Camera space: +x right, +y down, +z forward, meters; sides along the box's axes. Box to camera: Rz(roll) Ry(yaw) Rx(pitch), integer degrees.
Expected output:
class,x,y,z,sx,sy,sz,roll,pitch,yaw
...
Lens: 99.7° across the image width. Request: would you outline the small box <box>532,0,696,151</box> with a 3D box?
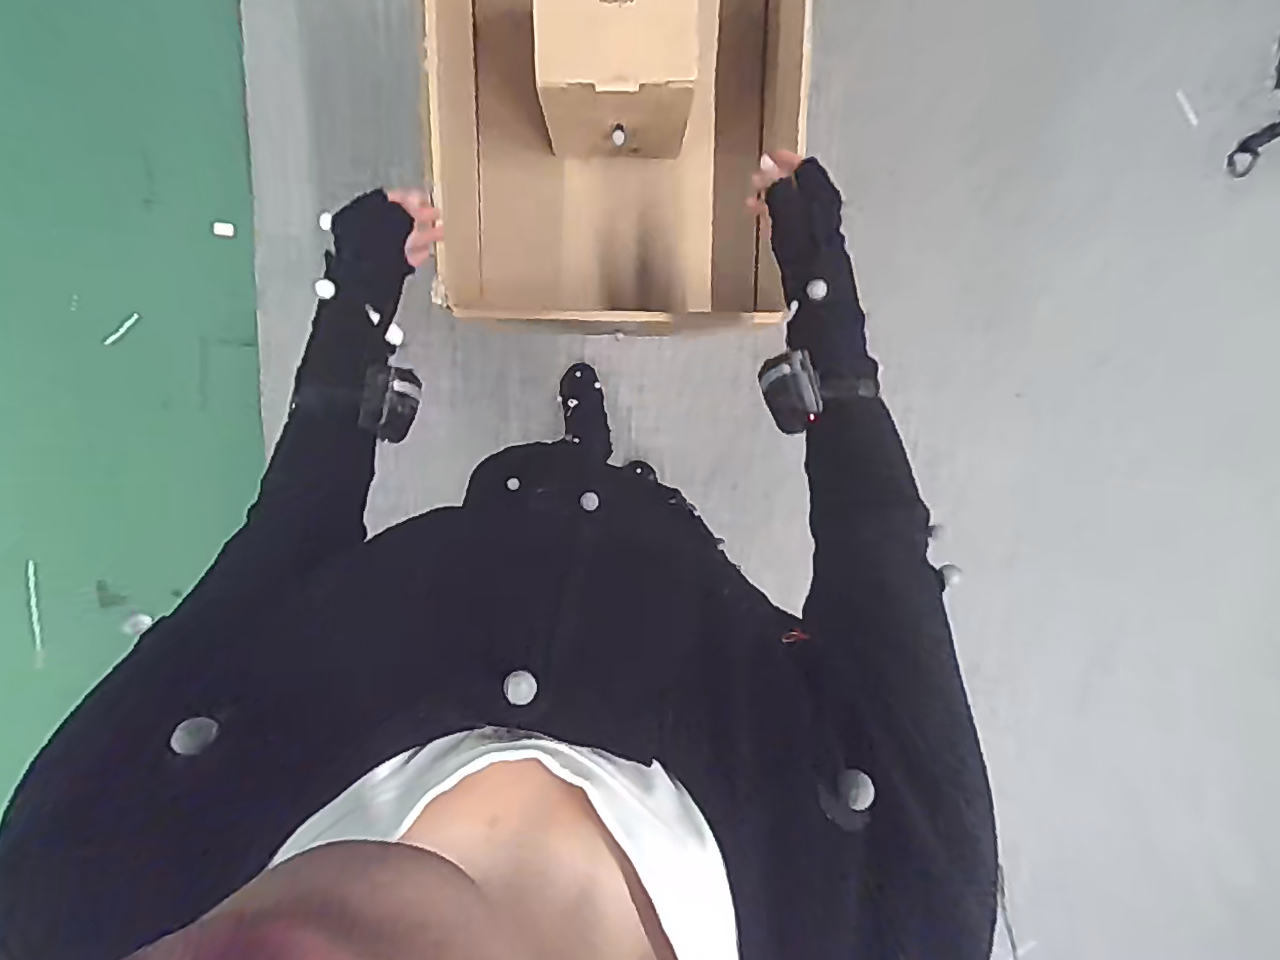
class,x,y,z,sx,sy,sz,roll,pitch,yaw
small box,-0.027,-0.496,0.609,0.168,0.176,0.179,0,99,-3
